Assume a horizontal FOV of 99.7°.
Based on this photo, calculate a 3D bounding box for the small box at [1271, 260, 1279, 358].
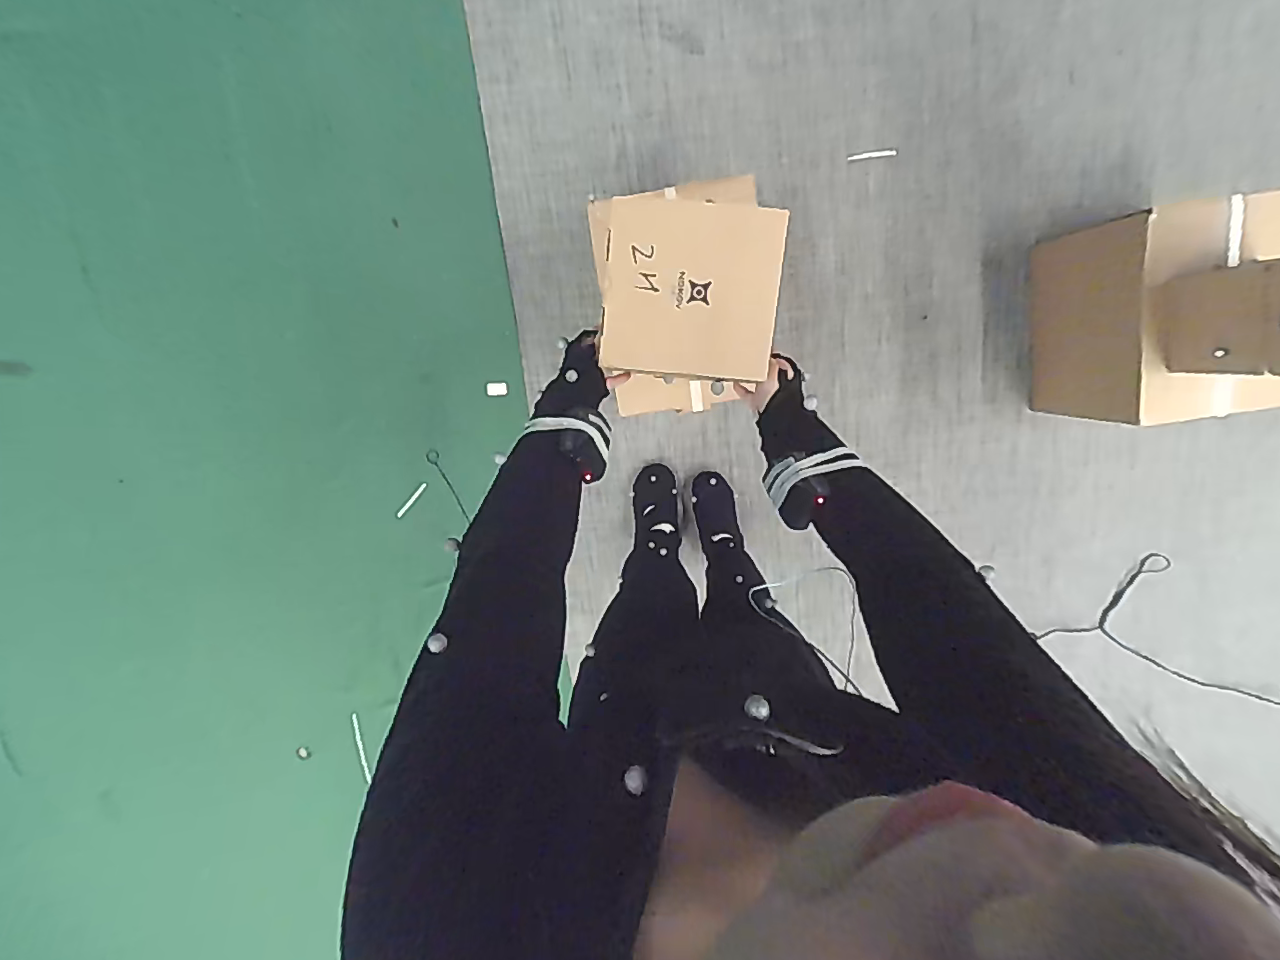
[{"bbox_3d":[1.080,-0.261,0.775,0.168,0.176,0.179,-16,103,5],"label":"small box"}]

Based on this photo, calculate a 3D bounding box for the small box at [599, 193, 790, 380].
[{"bbox_3d":[0.055,-0.206,0.618,0.179,0.176,0.168,6,101,2],"label":"small box"}]

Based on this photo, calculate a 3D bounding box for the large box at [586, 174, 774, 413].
[{"bbox_3d":[0.087,-0.375,1.177,0.320,0.320,0.408,-8,101,3],"label":"large box"}]
